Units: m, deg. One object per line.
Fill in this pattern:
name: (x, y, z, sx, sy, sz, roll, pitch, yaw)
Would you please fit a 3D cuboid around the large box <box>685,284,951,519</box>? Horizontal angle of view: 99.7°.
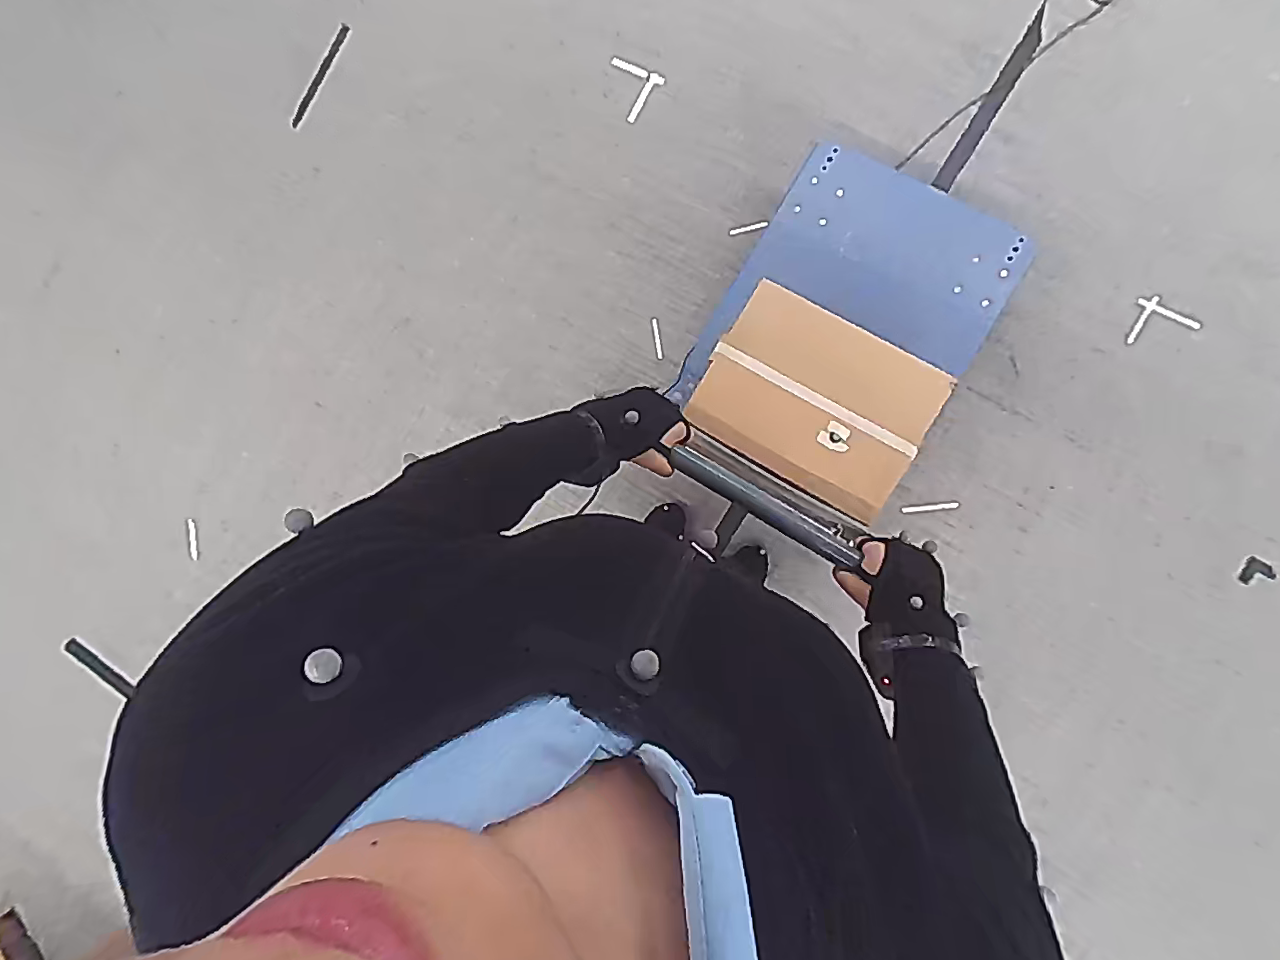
large box: (0.345, -0.146, 1.166, 0.408, 0.320, 0.320, 31, 91, 7)
